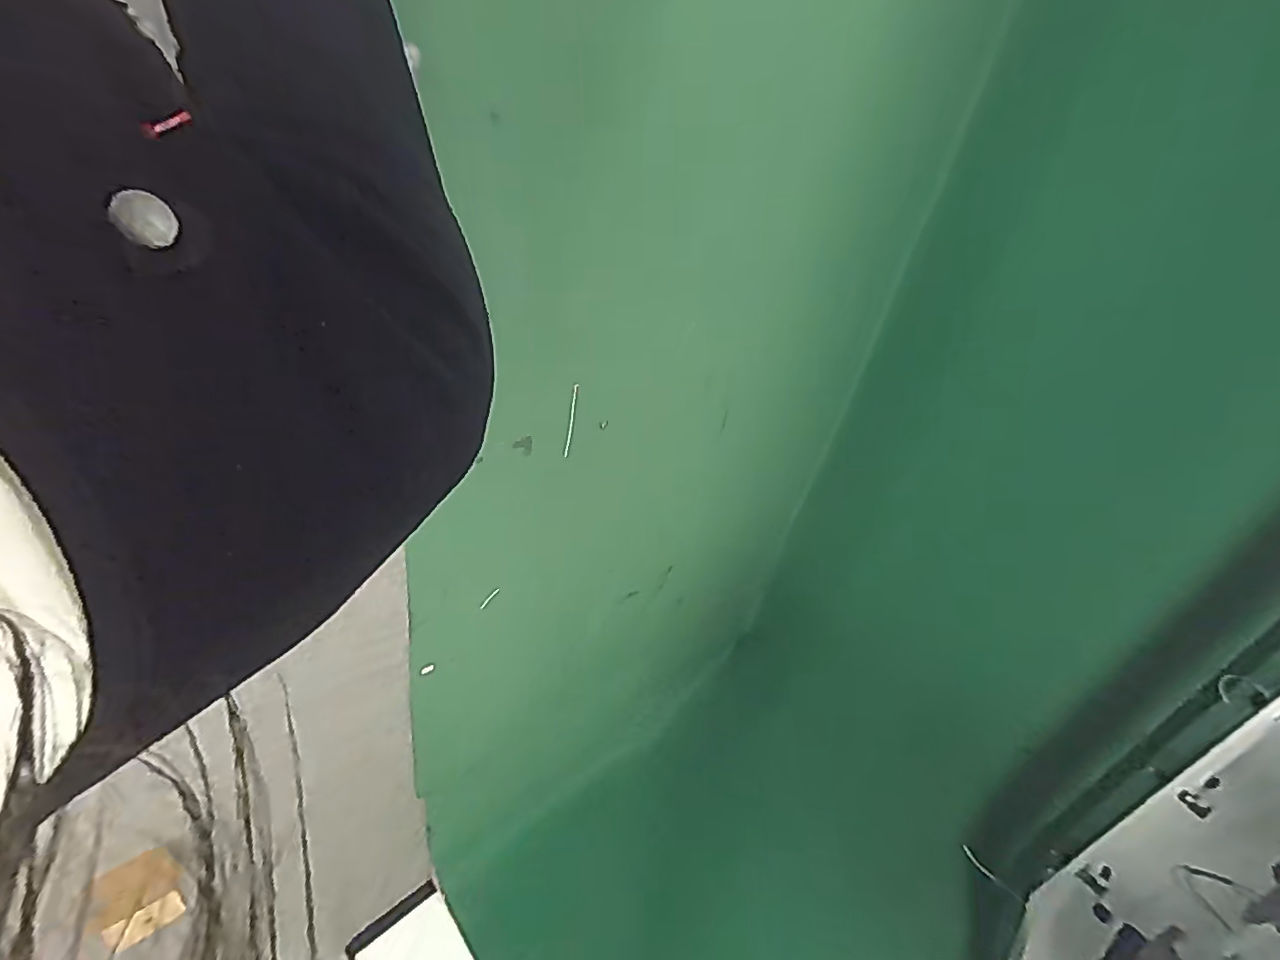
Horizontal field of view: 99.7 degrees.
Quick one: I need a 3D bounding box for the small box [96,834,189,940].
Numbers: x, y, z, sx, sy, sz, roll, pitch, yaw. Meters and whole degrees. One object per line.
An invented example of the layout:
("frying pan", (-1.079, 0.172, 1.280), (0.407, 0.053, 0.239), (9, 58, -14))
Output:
("small box", (-1.570, 1.275, 1.704), (0.179, 0.176, 0.168), (-22, 136, -41))
